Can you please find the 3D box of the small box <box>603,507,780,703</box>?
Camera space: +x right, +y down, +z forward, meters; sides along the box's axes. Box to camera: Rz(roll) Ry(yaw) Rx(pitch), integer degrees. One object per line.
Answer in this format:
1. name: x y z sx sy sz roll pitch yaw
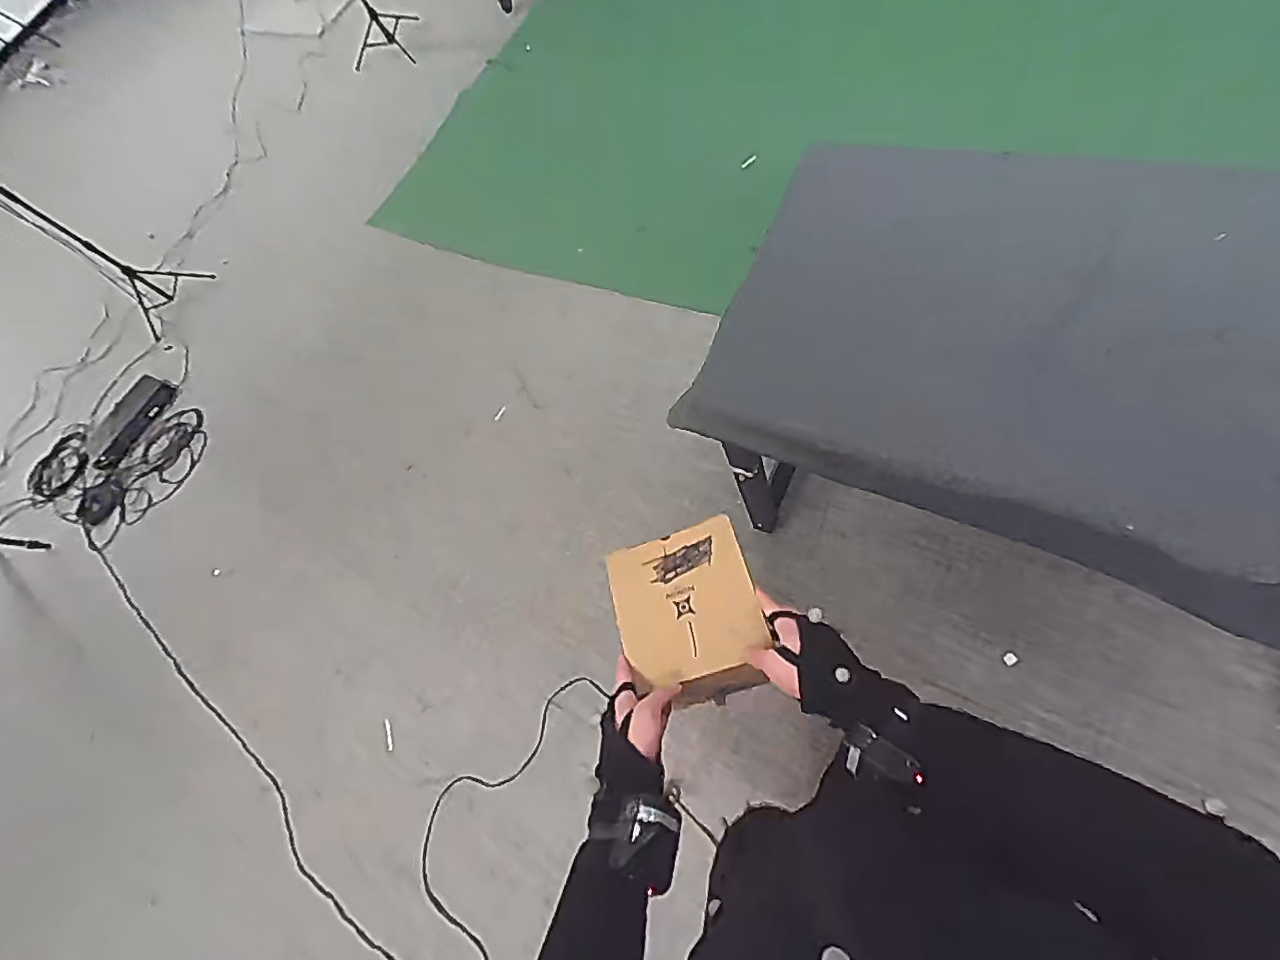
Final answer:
1. small box: 0.068 0.164 0.680 0.168 0.176 0.179 -19 59 8
